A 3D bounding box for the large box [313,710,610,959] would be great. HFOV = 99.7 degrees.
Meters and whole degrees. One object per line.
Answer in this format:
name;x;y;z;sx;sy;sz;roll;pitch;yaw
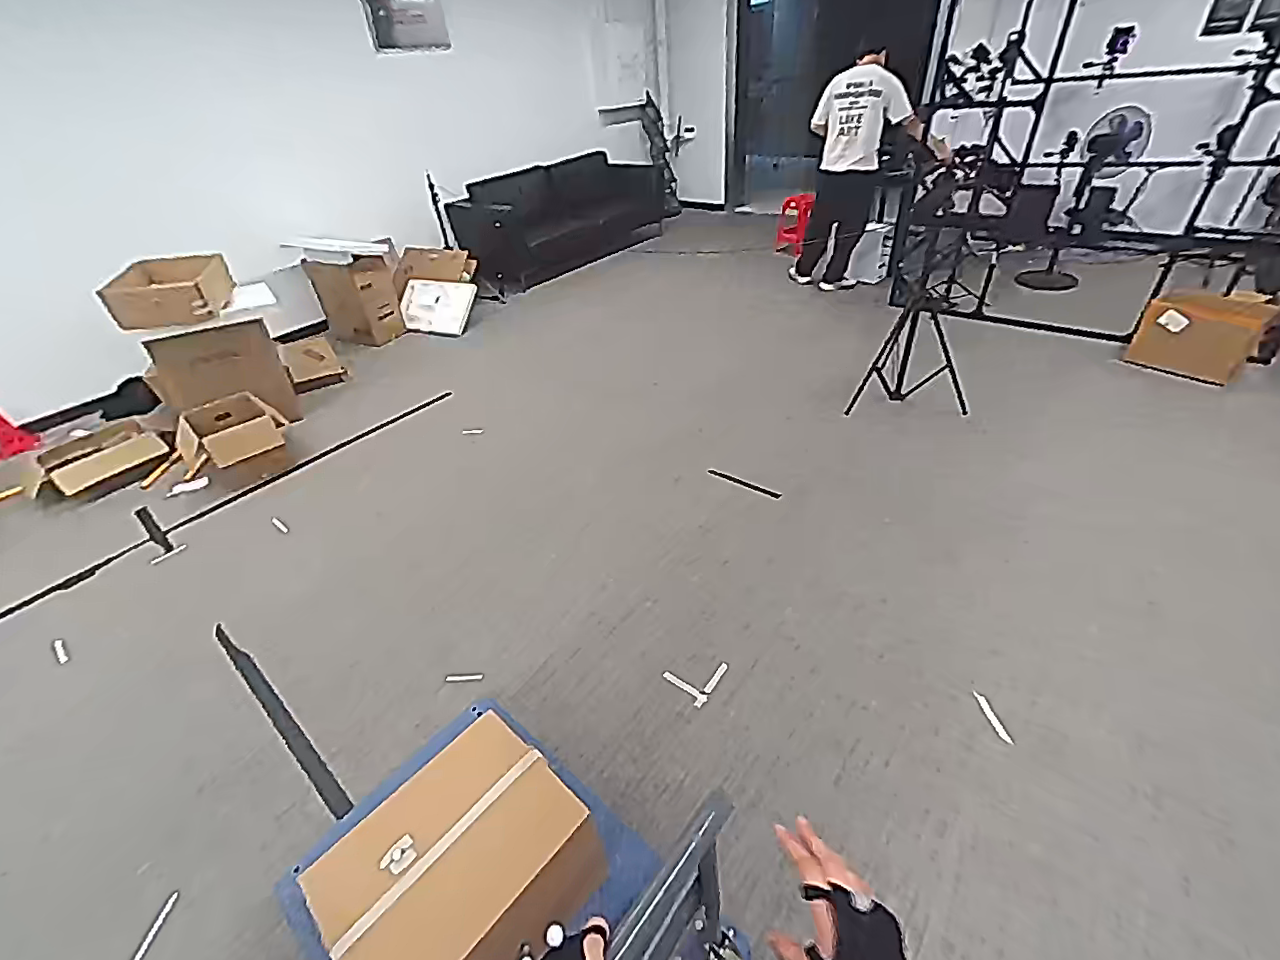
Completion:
large box;-0.312;0.758;1.048;0.320;0.320;0.408;25;48;35
